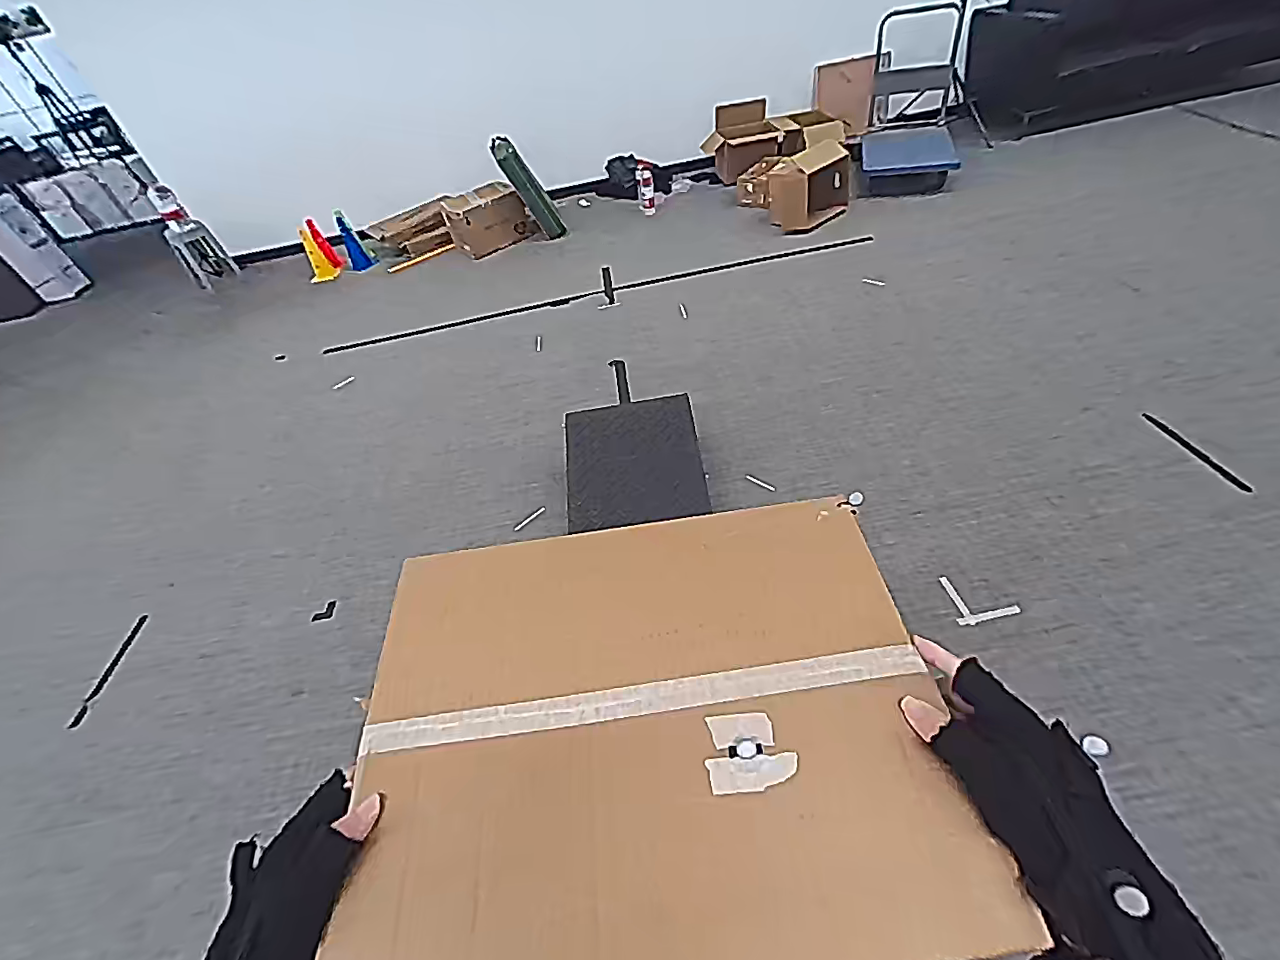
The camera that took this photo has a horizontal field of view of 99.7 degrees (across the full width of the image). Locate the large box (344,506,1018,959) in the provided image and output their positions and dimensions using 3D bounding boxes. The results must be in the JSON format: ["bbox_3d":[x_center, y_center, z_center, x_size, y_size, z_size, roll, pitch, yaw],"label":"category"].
[{"bbox_3d":[0.019,0.265,0.514,0.408,0.320,0.320,-8,49,0],"label":"large box"}]
